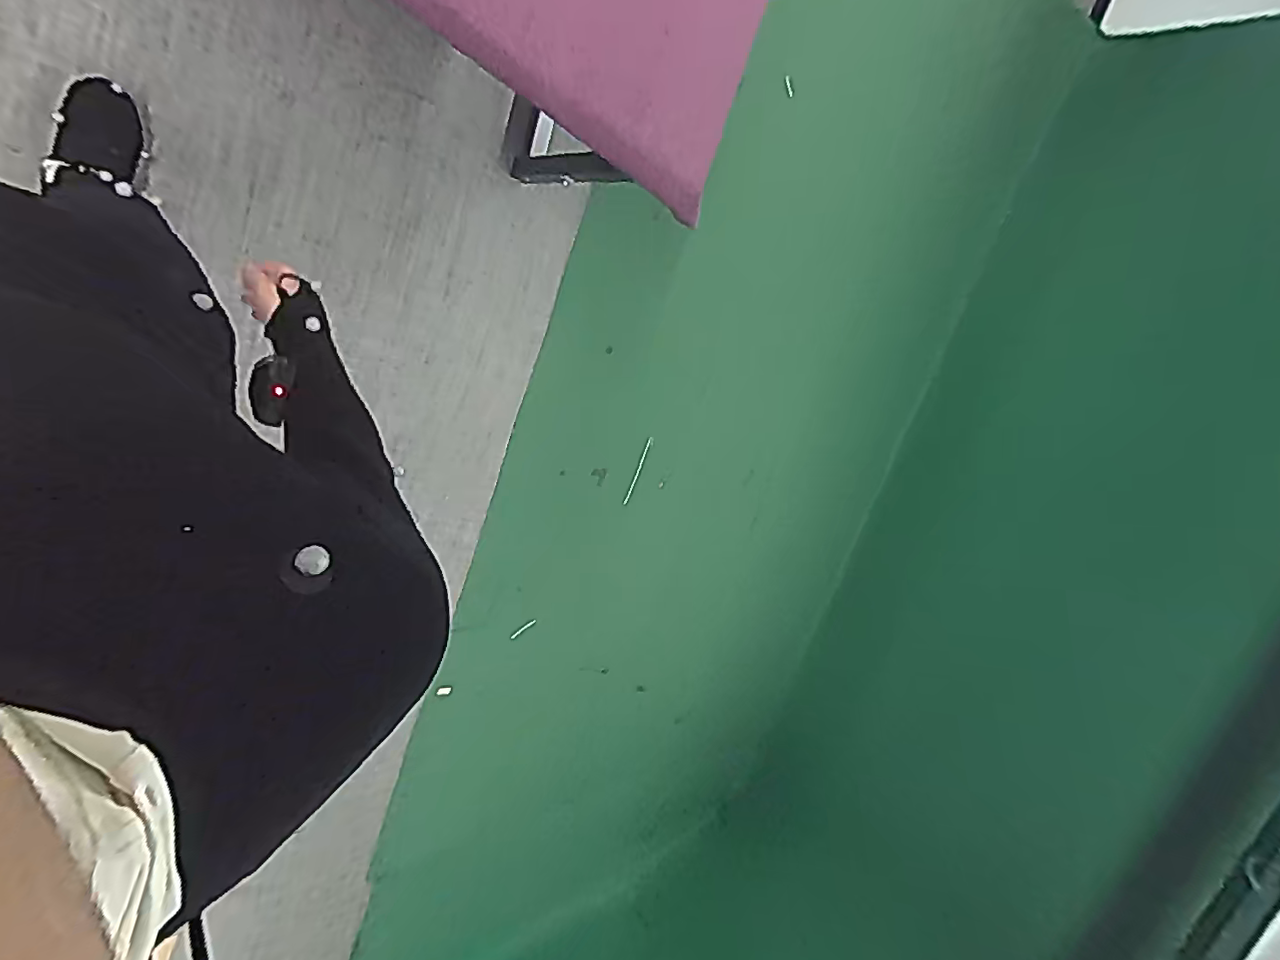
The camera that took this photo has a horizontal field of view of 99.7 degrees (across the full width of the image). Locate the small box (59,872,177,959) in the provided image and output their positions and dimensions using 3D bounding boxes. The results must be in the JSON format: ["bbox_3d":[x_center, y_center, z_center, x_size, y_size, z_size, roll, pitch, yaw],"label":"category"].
[{"bbox_3d":[-1.141,1.014,1.180,0.168,0.176,0.179,18,100,-46],"label":"small box"}]

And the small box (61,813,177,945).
[{"bbox_3d":[-1.238,0.948,1.294,0.168,0.176,0.179,17,101,-45],"label":"small box"}]
